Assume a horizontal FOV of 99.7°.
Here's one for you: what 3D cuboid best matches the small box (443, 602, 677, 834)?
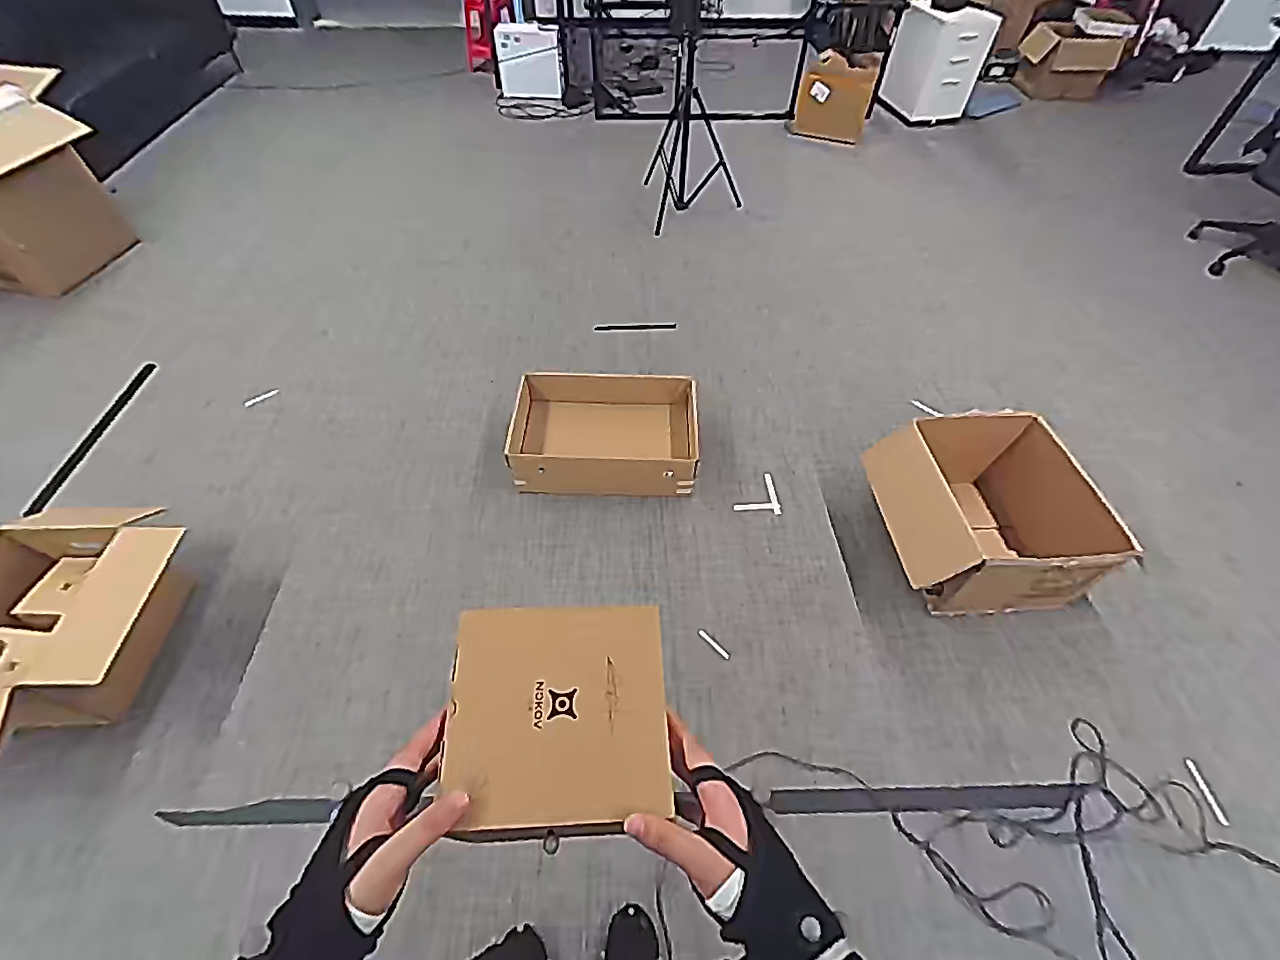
[{"bbox_3d":[-0.066,0.227,0.507,0.179,0.176,0.168,-1,55,-5],"label":"small box"}]
